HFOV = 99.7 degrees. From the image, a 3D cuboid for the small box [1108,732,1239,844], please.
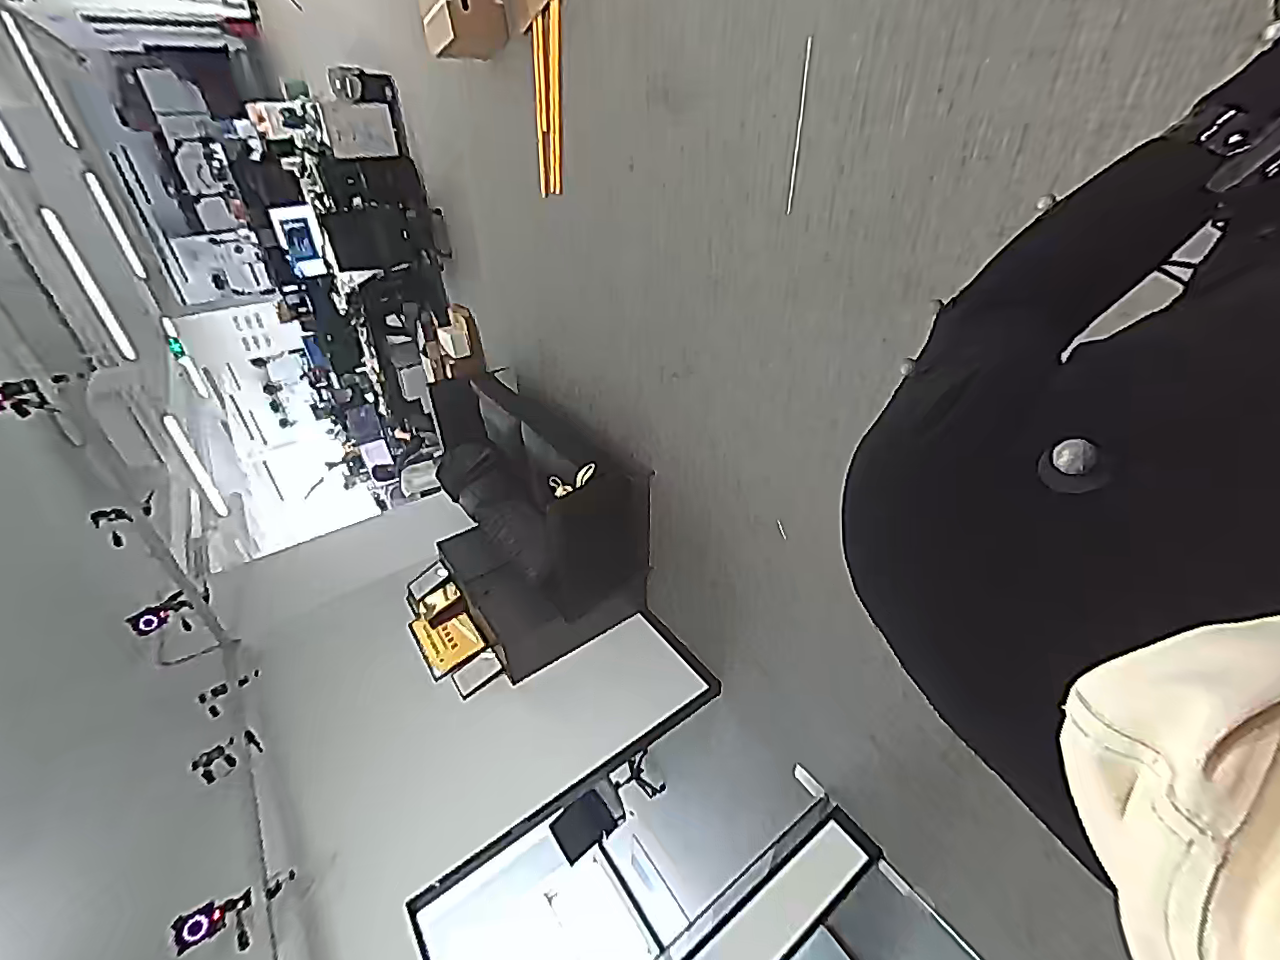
[{"bbox_3d":[1.416,0.806,1.439,0.179,0.176,0.168,38,141,41],"label":"small box"}]
